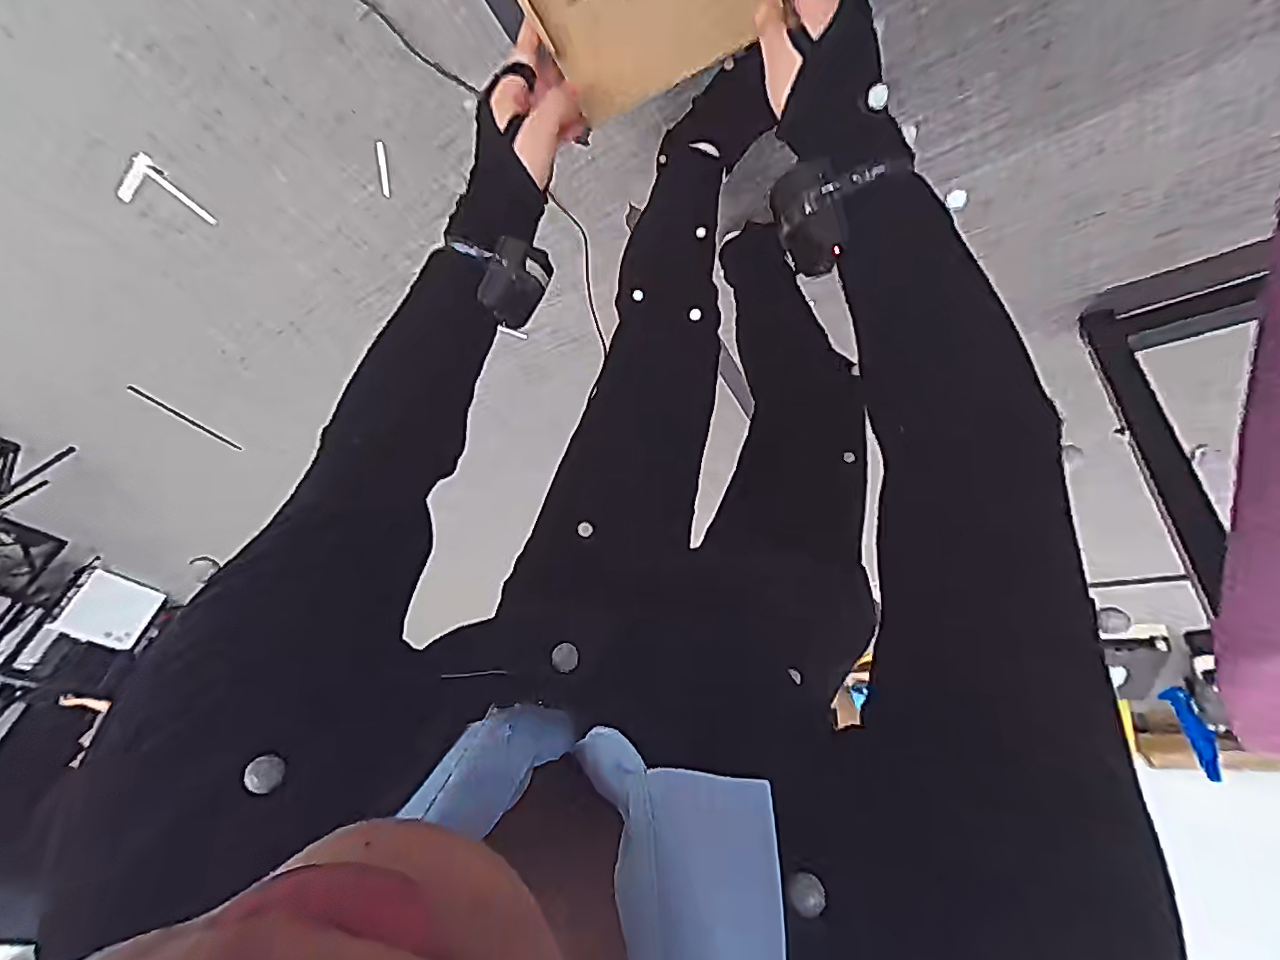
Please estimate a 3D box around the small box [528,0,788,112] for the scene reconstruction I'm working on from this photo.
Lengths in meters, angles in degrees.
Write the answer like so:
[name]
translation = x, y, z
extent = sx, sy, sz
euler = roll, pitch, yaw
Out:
[small box]
translation = 0.005, -0.438, 0.408
extent = 0.179, 0.176, 0.168
euler = -8, 146, 29
